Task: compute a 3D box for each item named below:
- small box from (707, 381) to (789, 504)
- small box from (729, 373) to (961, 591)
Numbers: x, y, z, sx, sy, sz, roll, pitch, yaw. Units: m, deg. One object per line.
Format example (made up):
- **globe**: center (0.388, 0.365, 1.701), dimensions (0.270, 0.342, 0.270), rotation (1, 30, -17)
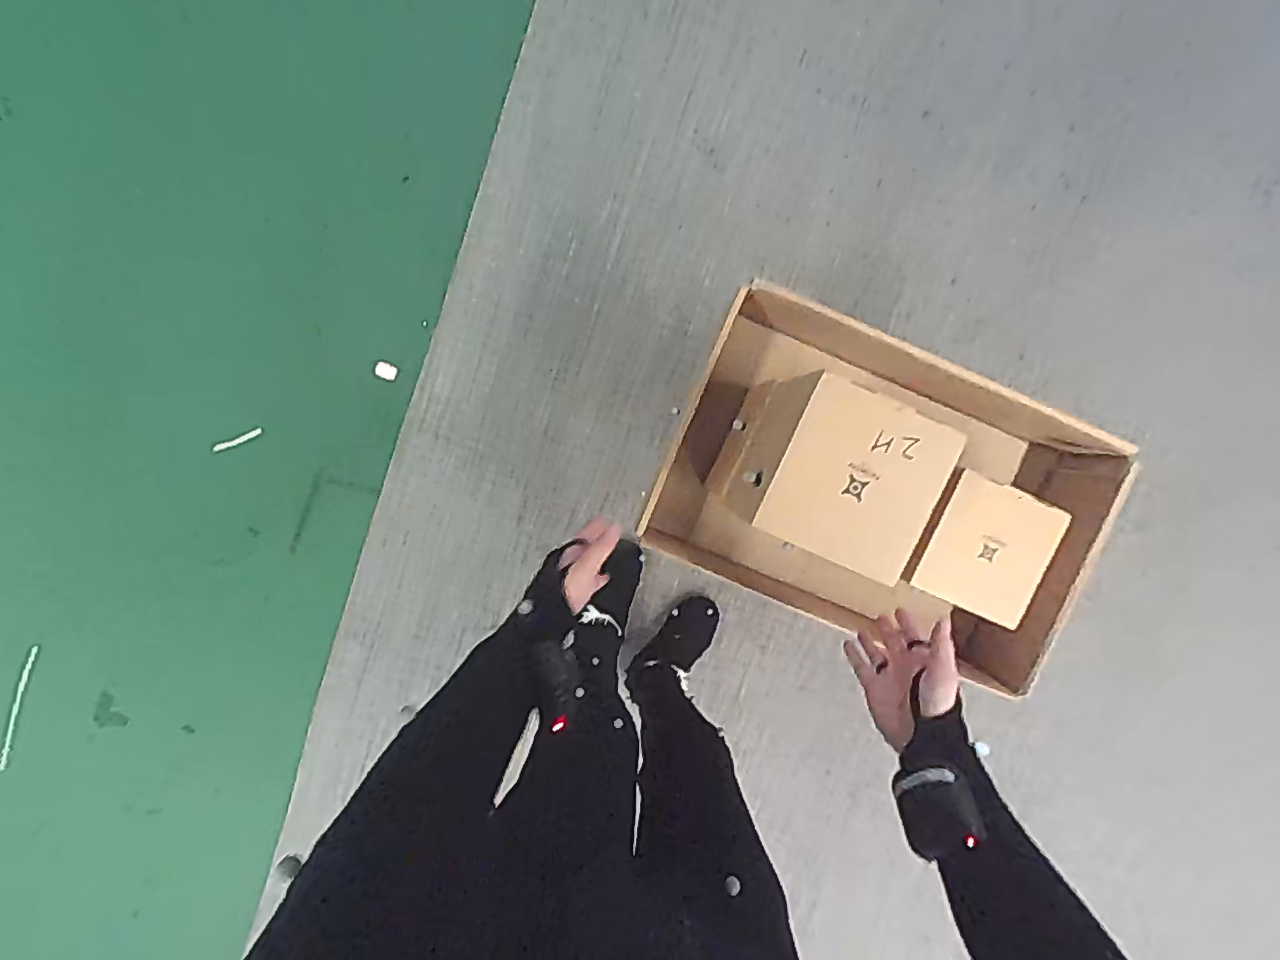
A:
- **small box**: center (0.210, -0.023, 0.788), dimensions (0.168, 0.176, 0.179), rotation (26, 93, -2)
- **small box**: center (0.215, -0.002, 0.625), dimensions (0.168, 0.176, 0.179), rotation (24, 94, -4)
